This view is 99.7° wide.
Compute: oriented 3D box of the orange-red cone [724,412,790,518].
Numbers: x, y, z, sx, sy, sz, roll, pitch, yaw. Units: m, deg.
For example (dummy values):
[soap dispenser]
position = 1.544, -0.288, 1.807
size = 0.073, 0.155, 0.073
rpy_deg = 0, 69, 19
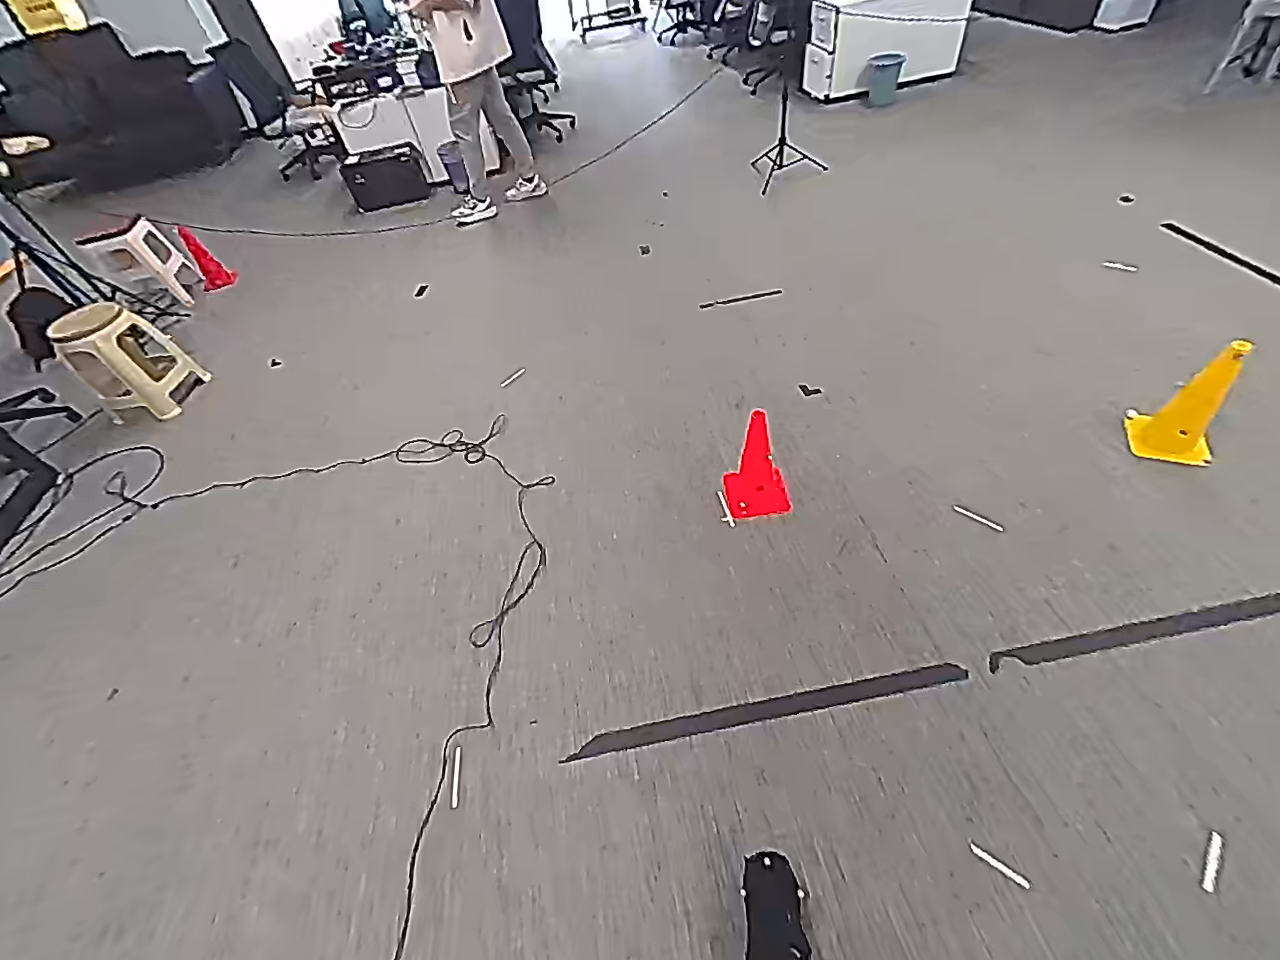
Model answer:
[orange-red cone]
position = 0.364, -0.068, 1.672
size = 0.199, 0.360, 0.198
rpy_deg = -6, 48, 4
